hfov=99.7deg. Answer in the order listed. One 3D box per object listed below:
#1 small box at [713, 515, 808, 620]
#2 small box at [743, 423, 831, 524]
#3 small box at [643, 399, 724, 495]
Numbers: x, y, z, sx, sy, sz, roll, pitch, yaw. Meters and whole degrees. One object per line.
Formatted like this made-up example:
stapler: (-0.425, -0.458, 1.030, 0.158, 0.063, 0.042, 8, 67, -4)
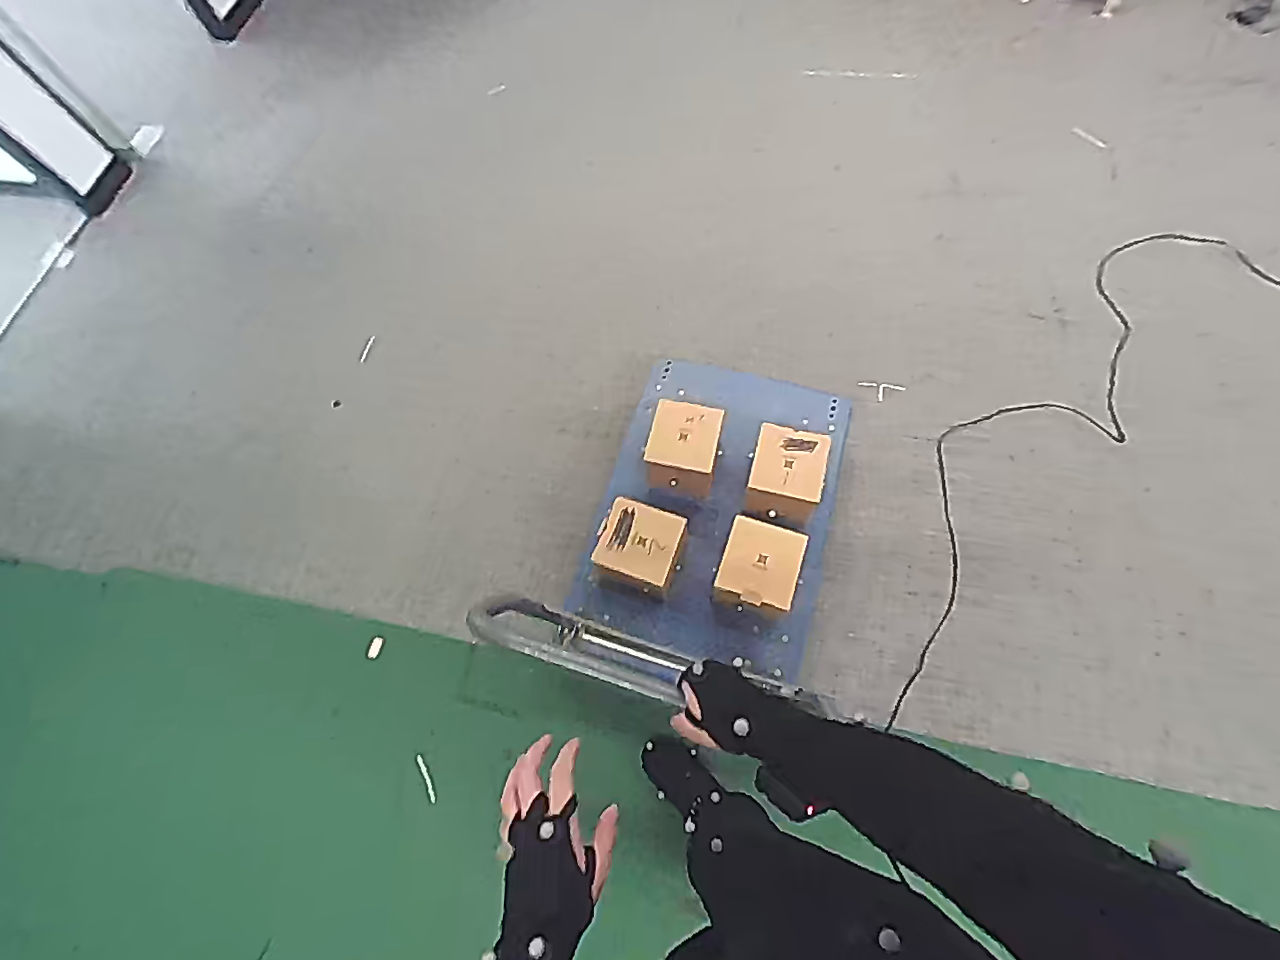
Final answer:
small box: (0.270, 0.207, 1.248, 0.168, 0.176, 0.179, 17, 72, 11)
small box: (0.354, -0.013, 1.328, 0.168, 0.176, 0.179, 14, 71, 11)
small box: (0.112, -0.079, 1.375, 0.168, 0.176, 0.179, 12, 69, 9)
